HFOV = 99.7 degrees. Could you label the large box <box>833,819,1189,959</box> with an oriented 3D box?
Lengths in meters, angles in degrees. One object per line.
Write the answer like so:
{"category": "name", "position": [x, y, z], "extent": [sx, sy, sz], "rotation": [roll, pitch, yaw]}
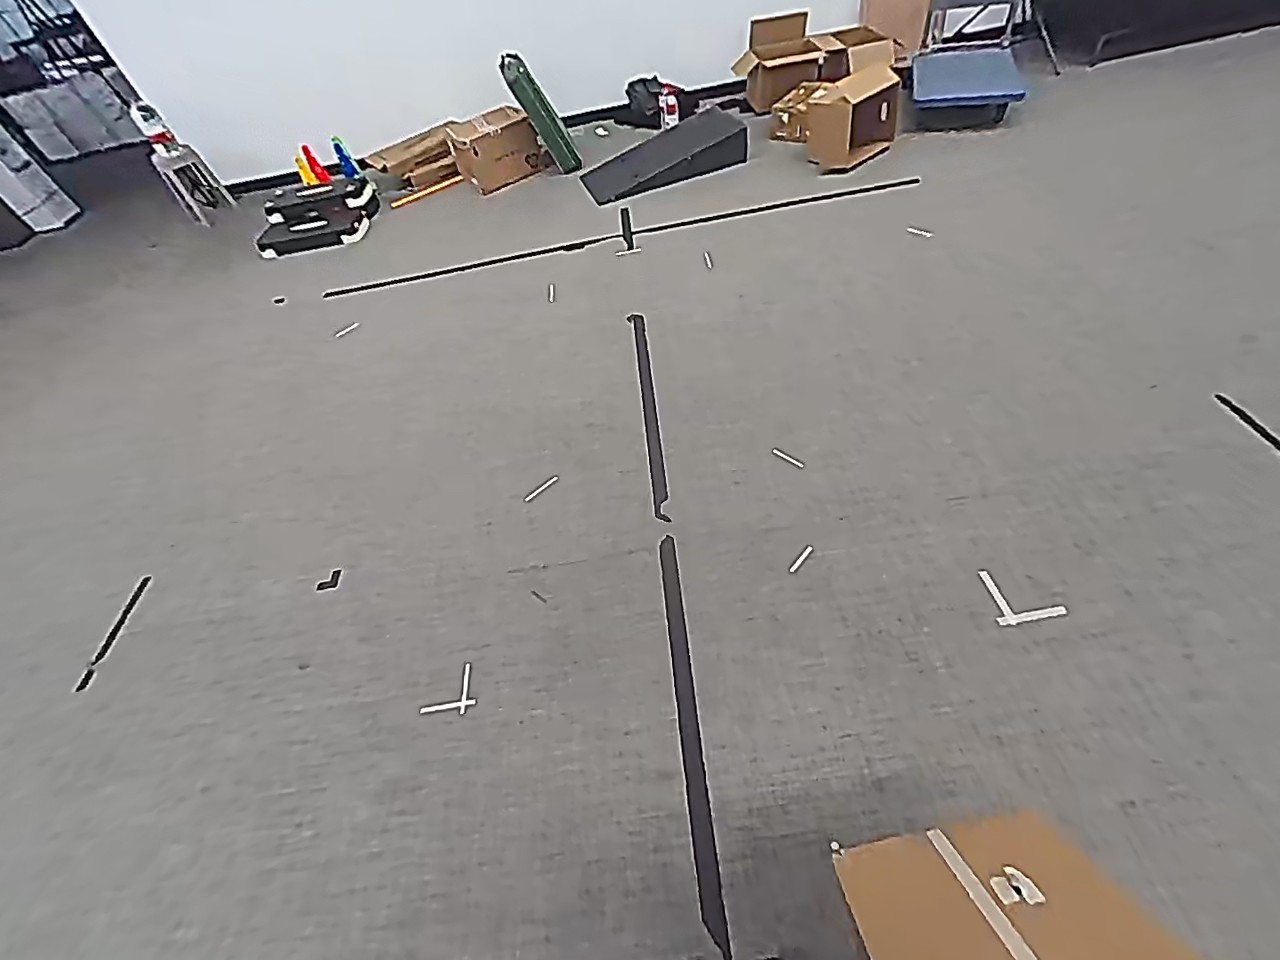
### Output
{"category": "large box", "position": [0.466, 0.683, 0.614], "extent": [0.320, 0.408, 0.320], "rotation": [-14, 87, 4]}
